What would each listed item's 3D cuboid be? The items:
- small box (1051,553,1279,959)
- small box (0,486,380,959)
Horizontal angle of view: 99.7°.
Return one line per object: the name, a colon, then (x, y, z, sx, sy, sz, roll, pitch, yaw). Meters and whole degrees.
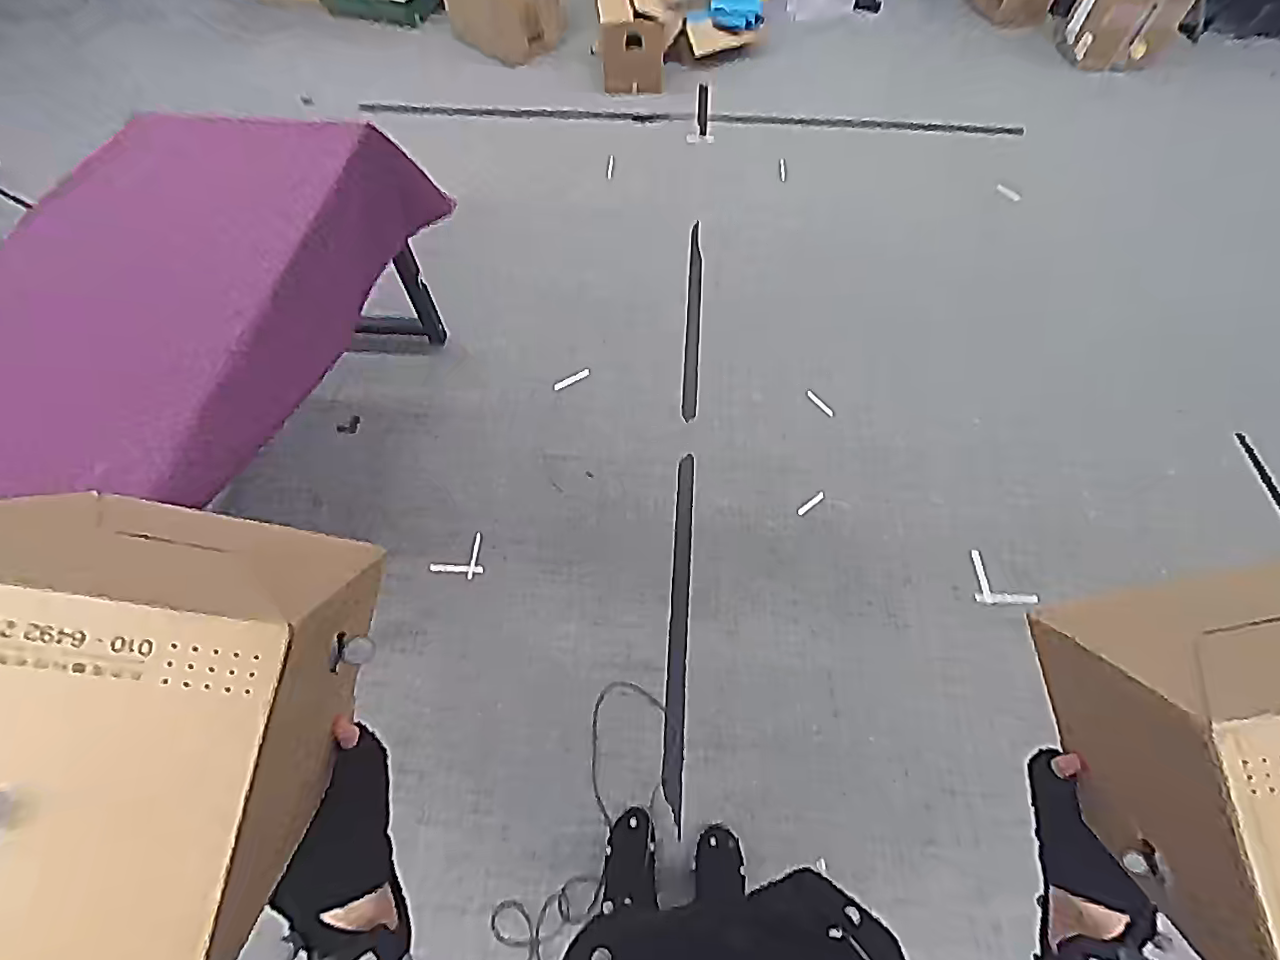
small box: (0.359, 0.147, 0.284, 0.168, 0.179, 0.176, -14, 90, 14)
small box: (-0.240, 0.101, 0.249, 0.168, 0.179, 0.176, 15, 88, -14)
